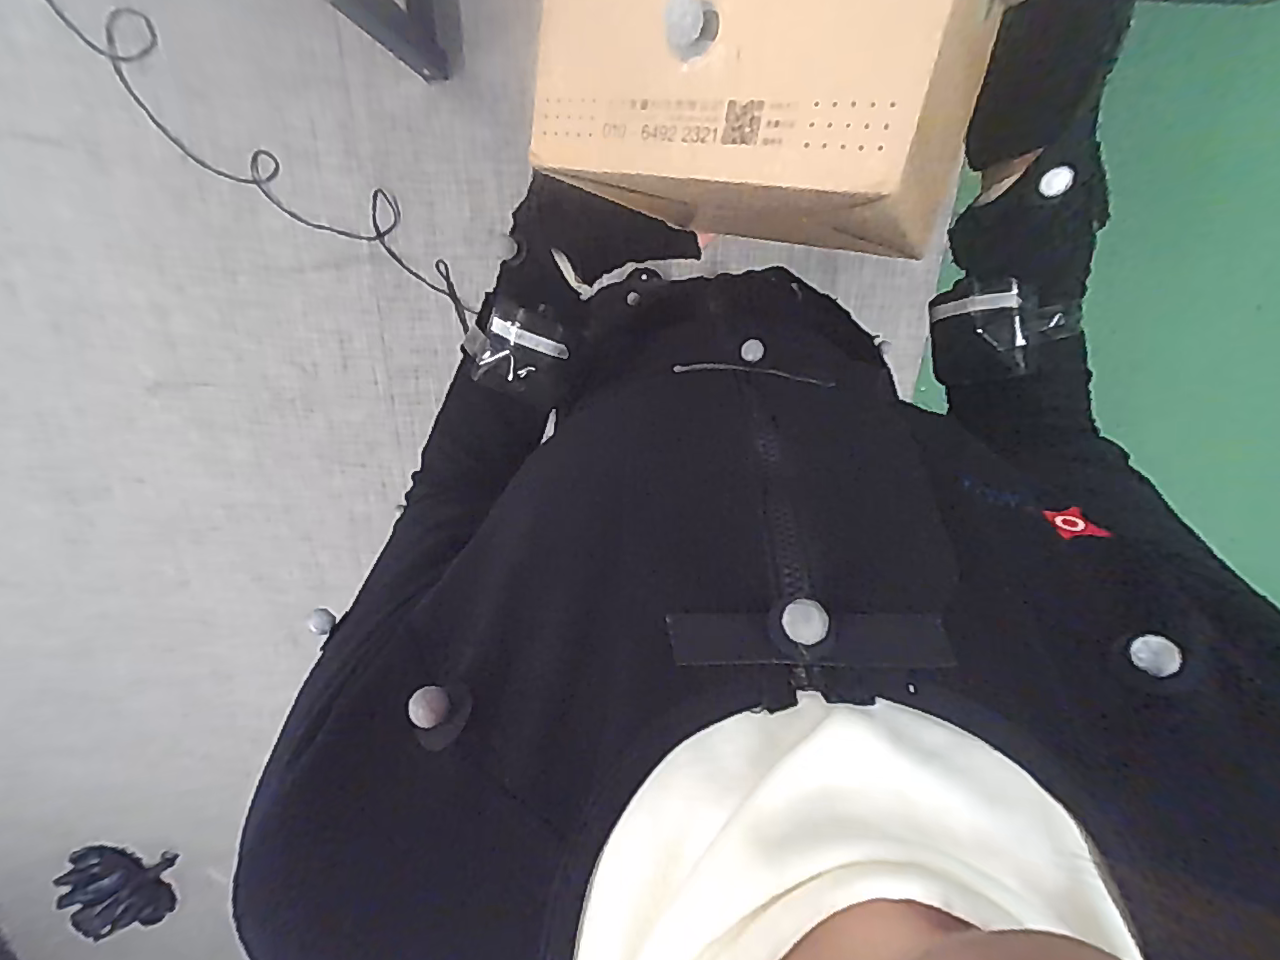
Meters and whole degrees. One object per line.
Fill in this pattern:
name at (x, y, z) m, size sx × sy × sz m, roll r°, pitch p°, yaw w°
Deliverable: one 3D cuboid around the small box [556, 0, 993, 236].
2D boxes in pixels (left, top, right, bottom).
small box at (0.073, -0.228, 0.273) m, size 0.168 × 0.179 × 0.176 m, roll 20°, pitch 113°, yaw 25°
